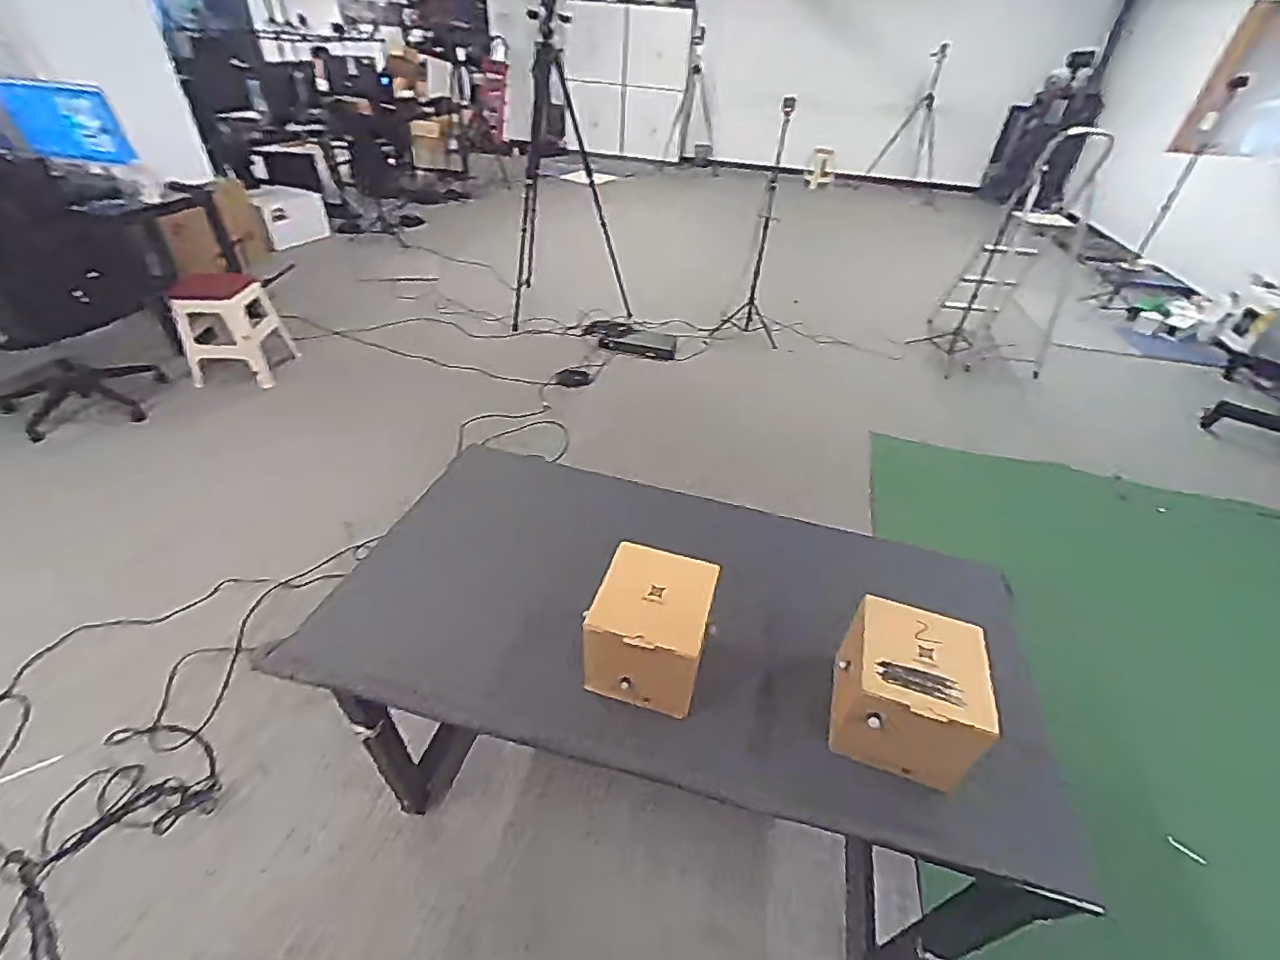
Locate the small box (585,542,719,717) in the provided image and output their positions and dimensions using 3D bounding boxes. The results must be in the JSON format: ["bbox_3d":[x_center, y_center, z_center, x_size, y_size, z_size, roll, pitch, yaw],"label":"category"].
[{"bbox_3d":[0.016,0.232,0.848,0.168,0.176,0.179,14,40,9],"label":"small box"}]
